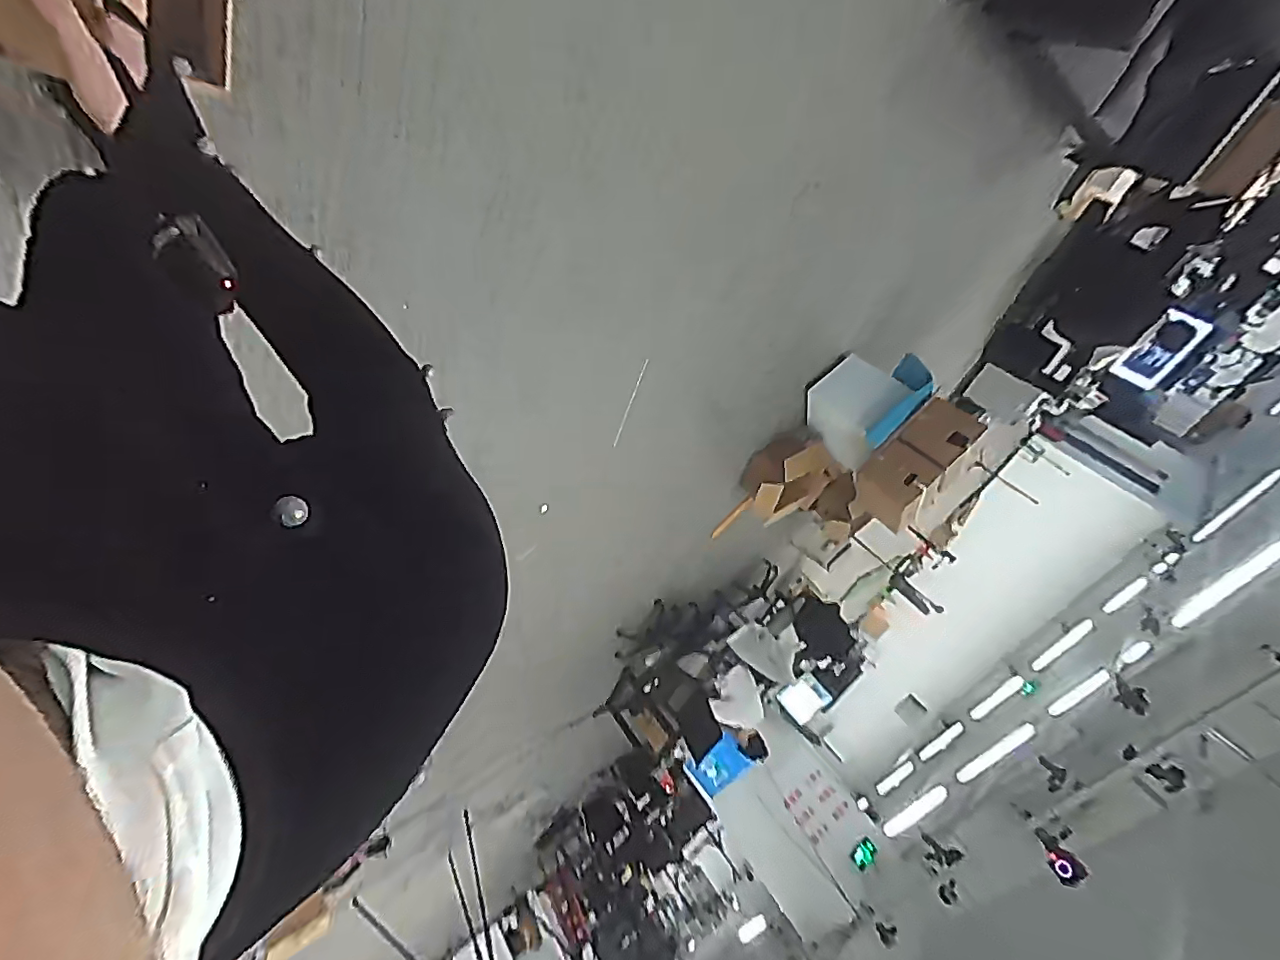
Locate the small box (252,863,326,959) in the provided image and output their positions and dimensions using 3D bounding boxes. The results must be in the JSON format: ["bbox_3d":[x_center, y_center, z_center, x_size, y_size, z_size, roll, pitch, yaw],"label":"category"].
[{"bbox_3d":[-1.109,1.356,1.705,0.168,0.176,0.179,-10,136,-42],"label":"small box"}]
